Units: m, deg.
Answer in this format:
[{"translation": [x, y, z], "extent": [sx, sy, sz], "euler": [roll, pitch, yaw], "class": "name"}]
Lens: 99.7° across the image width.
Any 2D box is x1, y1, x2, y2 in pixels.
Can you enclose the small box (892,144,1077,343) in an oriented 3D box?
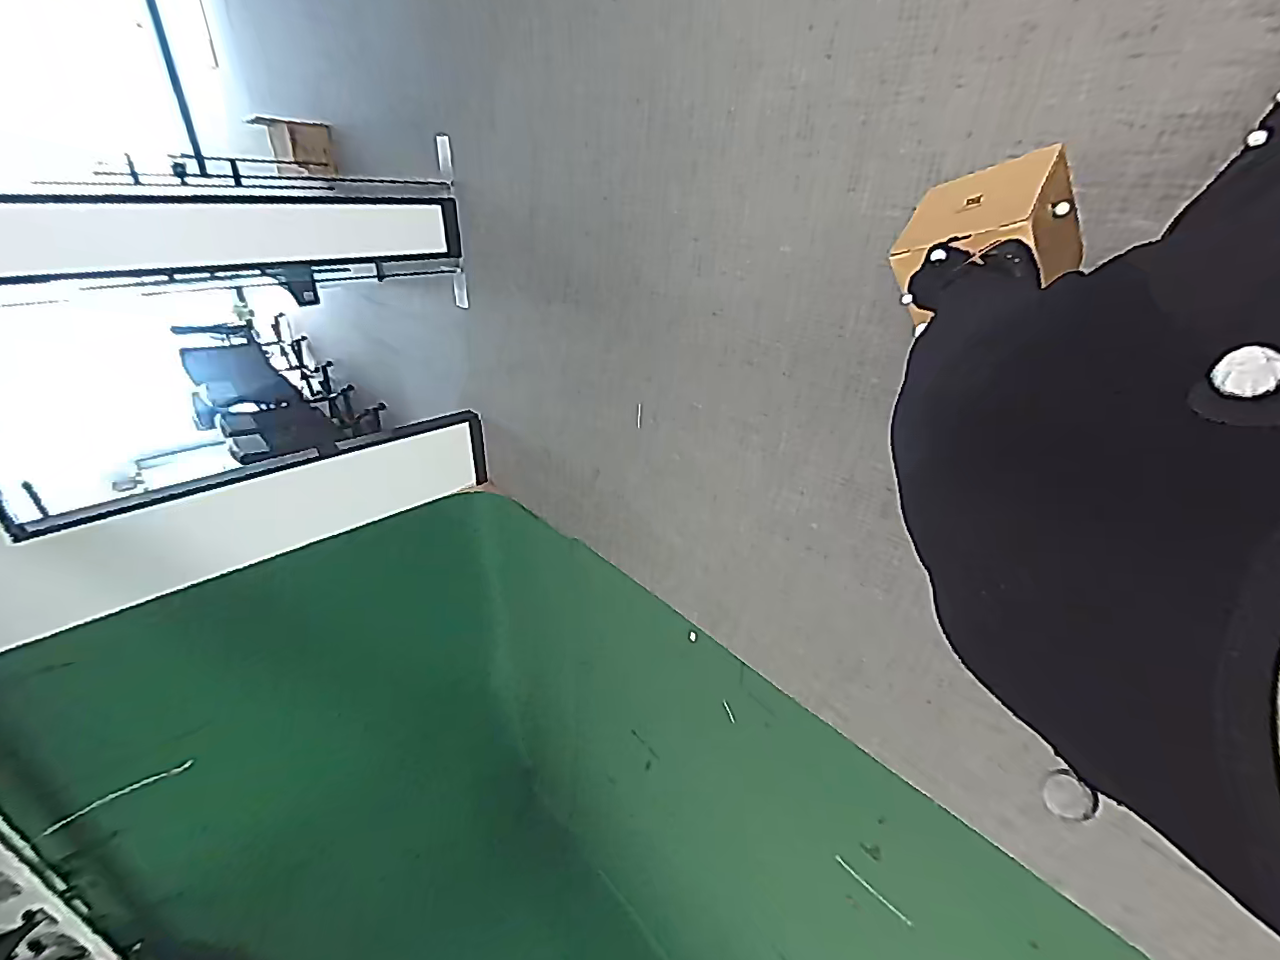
[{"translation": [0.491, -0.321, 0.764], "extent": [0.168, 0.179, 0.176], "euler": [4, 142, 51], "class": "small box"}]
